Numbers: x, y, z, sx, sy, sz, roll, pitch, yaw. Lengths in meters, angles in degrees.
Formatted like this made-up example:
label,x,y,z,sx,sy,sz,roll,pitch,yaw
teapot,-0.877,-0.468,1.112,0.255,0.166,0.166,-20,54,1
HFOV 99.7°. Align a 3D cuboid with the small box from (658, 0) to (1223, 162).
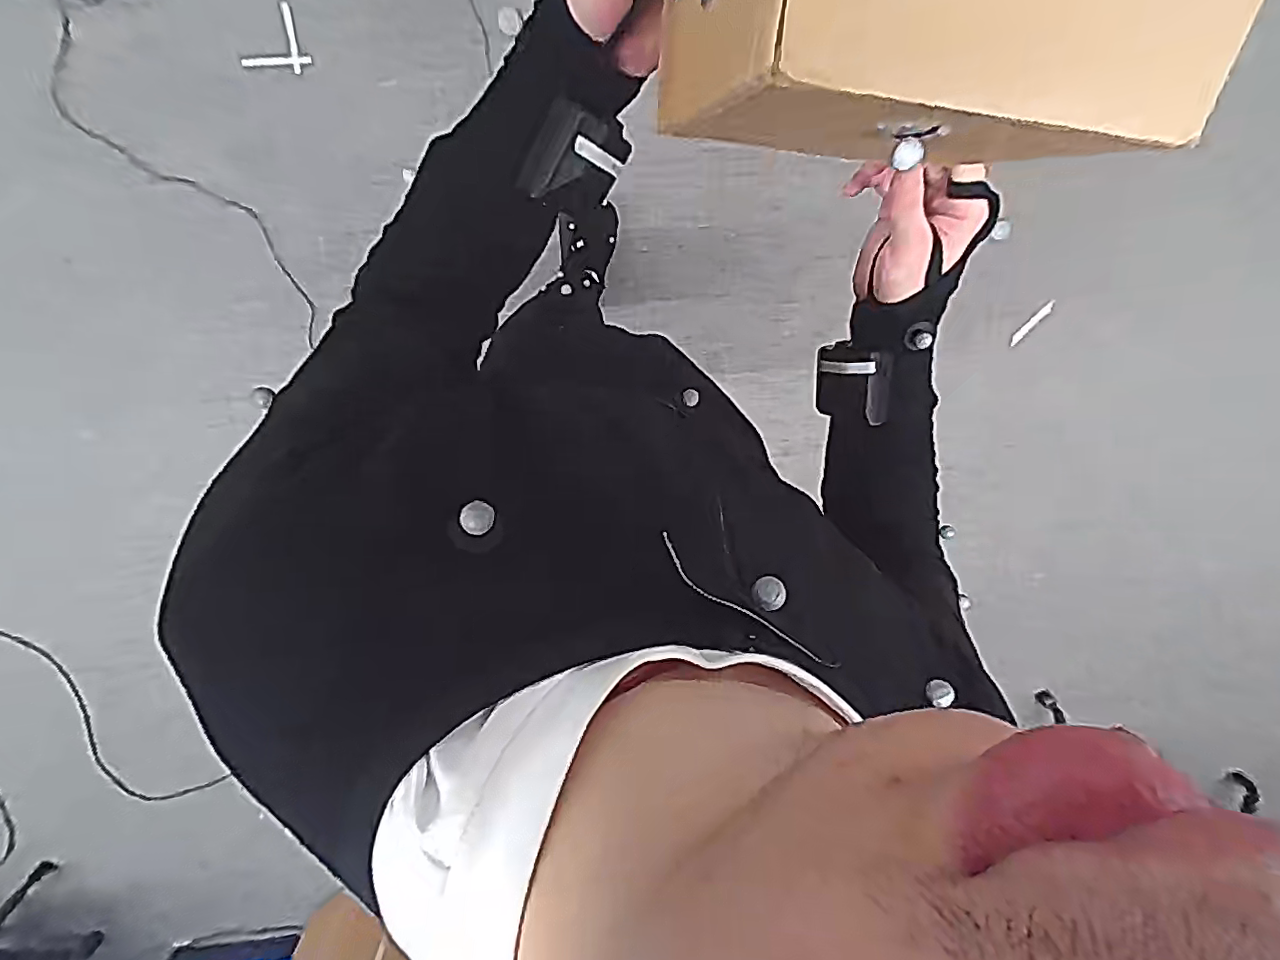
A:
label,x,y,z,sx,sy,sz,roll,pitch,yaw
small box,0.112,-0.240,0.230,0.179,0.176,0.168,-2,118,-13
